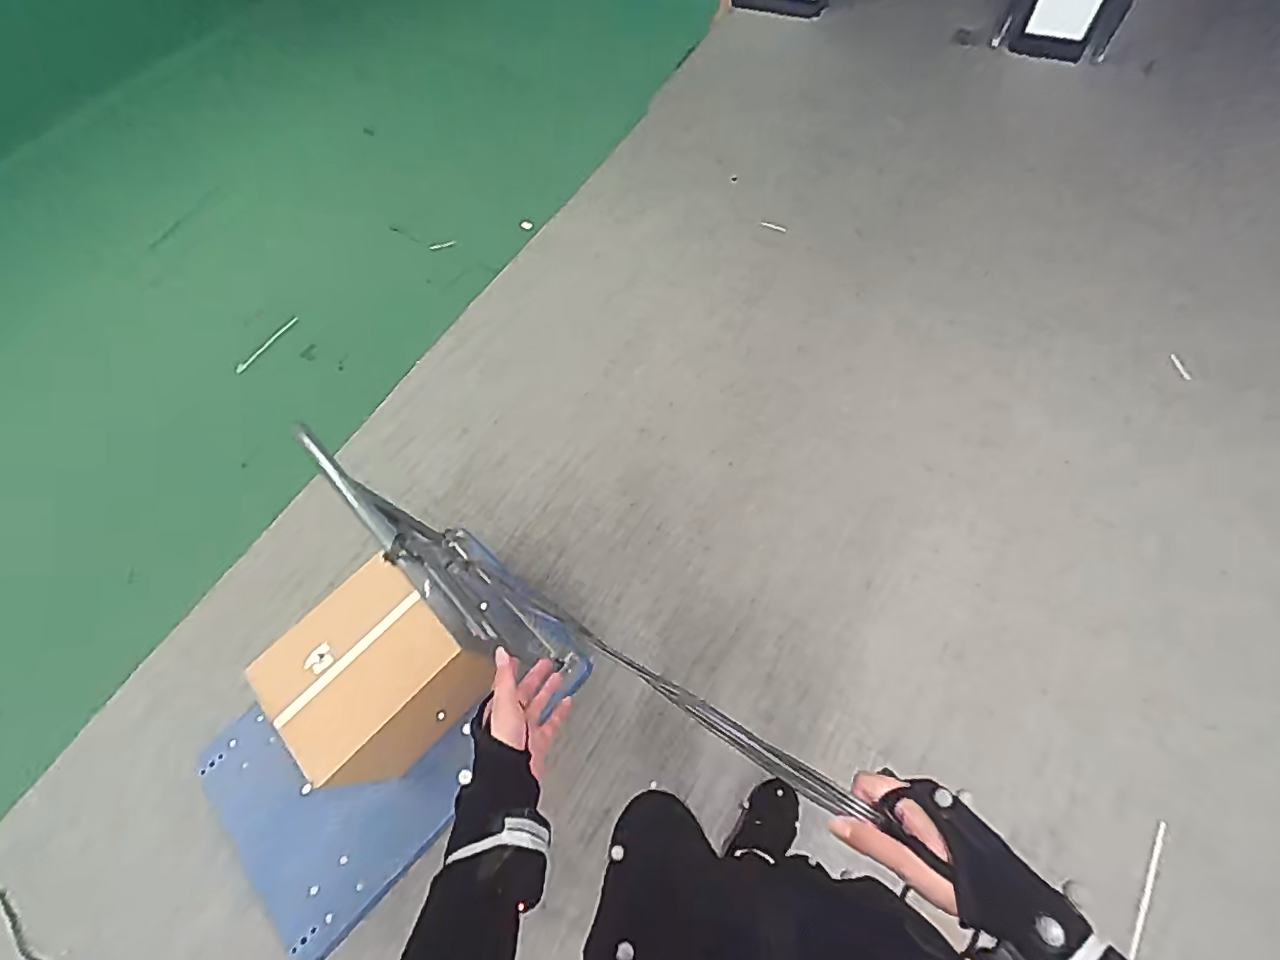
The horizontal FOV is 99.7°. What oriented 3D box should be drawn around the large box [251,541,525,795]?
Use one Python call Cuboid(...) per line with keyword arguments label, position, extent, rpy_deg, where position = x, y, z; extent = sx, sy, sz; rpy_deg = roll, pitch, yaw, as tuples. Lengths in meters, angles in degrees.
Cuboid(label="large box", position=(-0.542, 0.418, 1.234), extent=(0.320, 0.320, 0.408), rpy_deg=(41, 77, 22))
